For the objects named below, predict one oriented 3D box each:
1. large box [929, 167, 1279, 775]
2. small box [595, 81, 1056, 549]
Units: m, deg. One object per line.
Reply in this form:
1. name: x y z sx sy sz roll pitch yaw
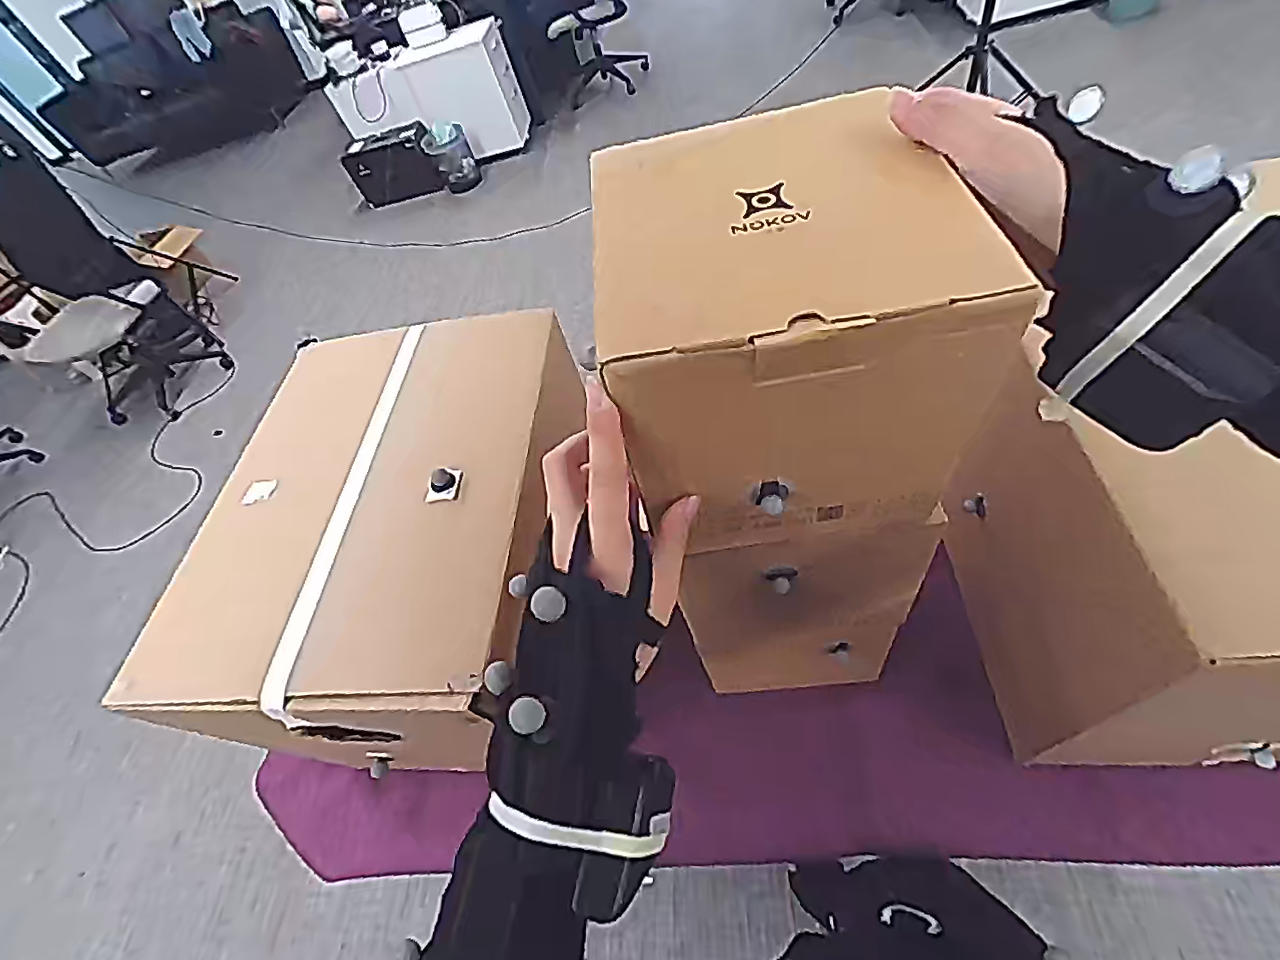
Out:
1. large box: 0.466 0.003 0.466 0.320 0.320 0.408 -7 52 11
2. small box: 0.073 -0.083 0.307 0.168 0.176 0.179 -9 55 6
